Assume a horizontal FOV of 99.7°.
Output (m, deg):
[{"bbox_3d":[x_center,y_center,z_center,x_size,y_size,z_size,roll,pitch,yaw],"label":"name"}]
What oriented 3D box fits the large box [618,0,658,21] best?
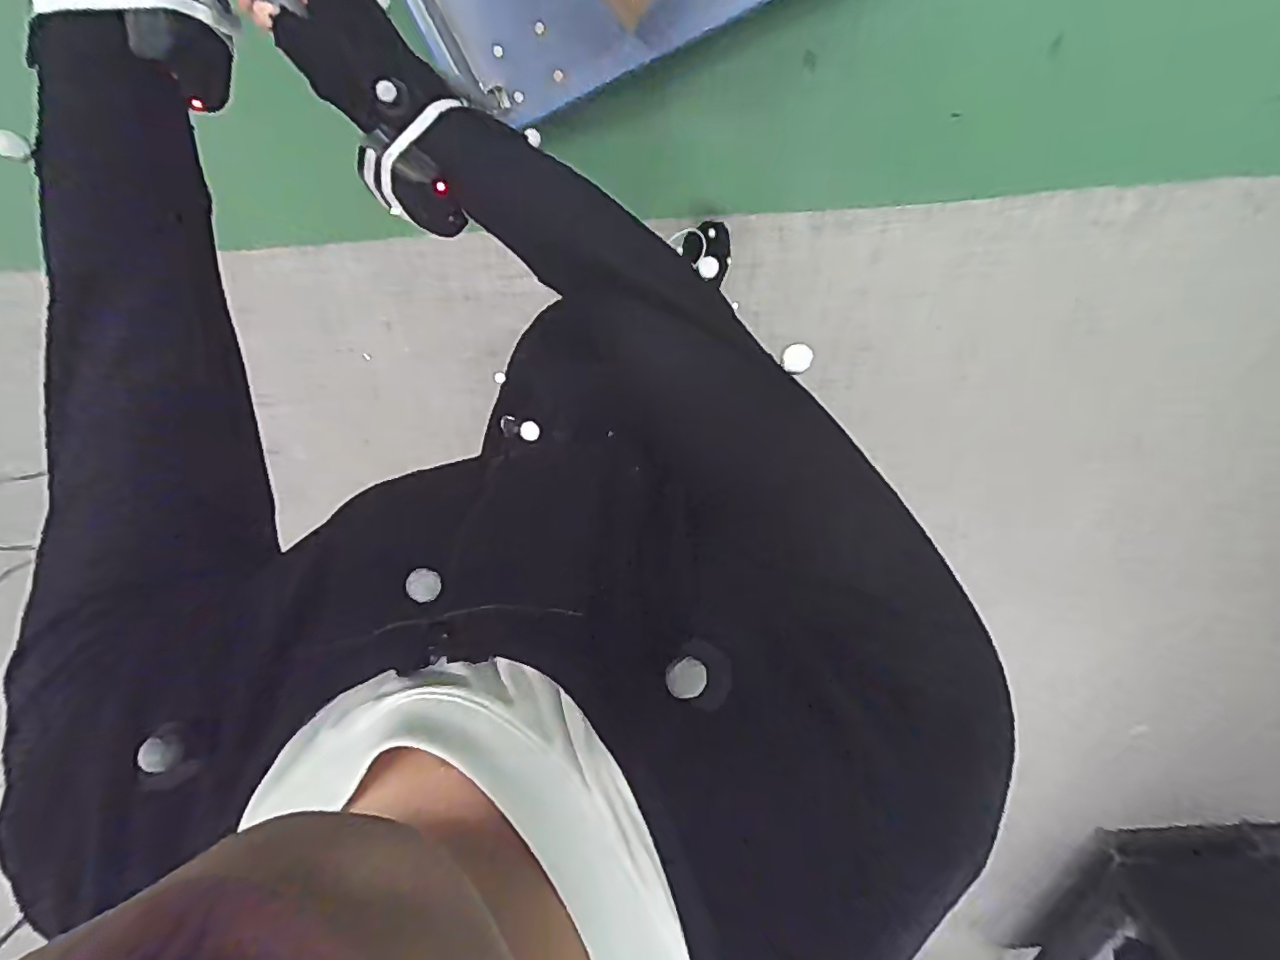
[{"bbox_3d":[-0.034,-0.889,0.653,0.320,0.320,0.408,-39,116,21],"label":"large box"}]
